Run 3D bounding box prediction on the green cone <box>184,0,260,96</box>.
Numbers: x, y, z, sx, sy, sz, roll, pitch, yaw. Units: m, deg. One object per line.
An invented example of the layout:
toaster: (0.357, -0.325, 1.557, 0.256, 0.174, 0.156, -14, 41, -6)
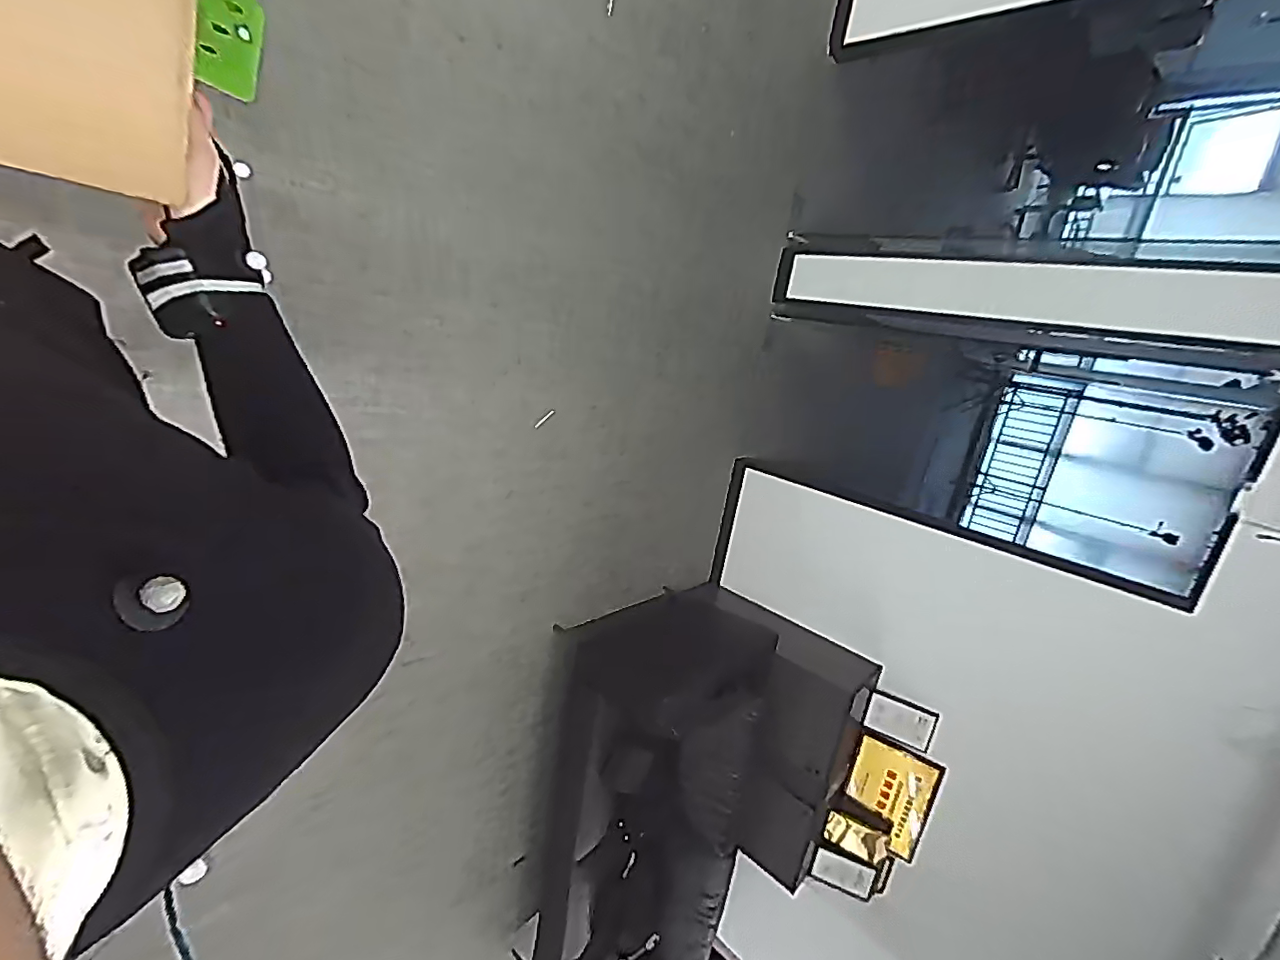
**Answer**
green cone: (-0.781, -0.893, 1.005, 0.200, 0.368, 0.202, 2, 105, -51)
